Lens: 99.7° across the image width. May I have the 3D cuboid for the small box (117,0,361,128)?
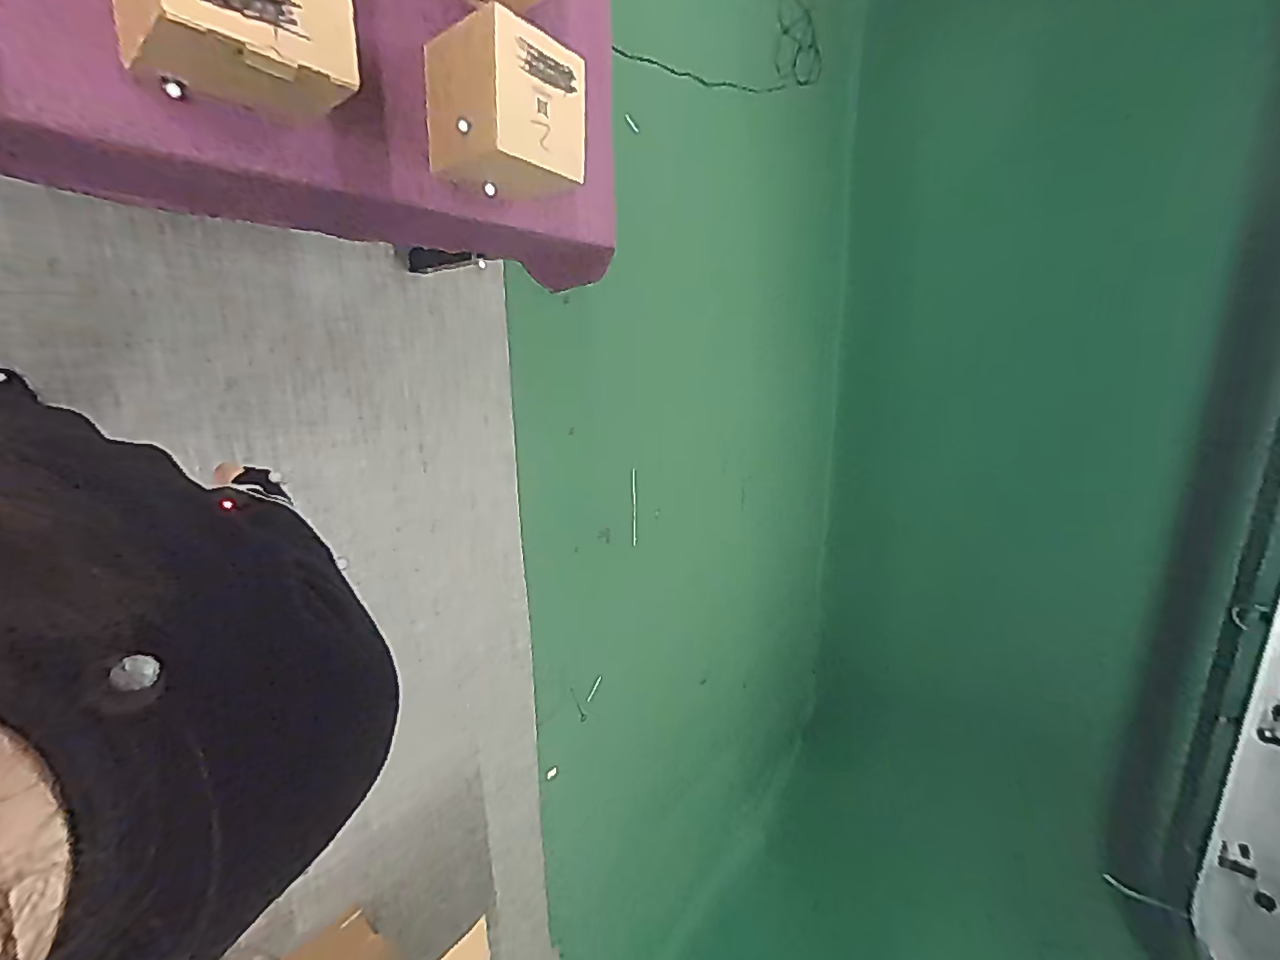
[{"bbox_3d":[-0.411,-0.497,0.552,0.168,0.176,0.179,-14,107,-49],"label":"small box"}]

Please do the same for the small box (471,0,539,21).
[{"bbox_3d":[-0.203,-0.795,0.748,0.168,0.176,0.179,-11,106,-49],"label":"small box"}]
